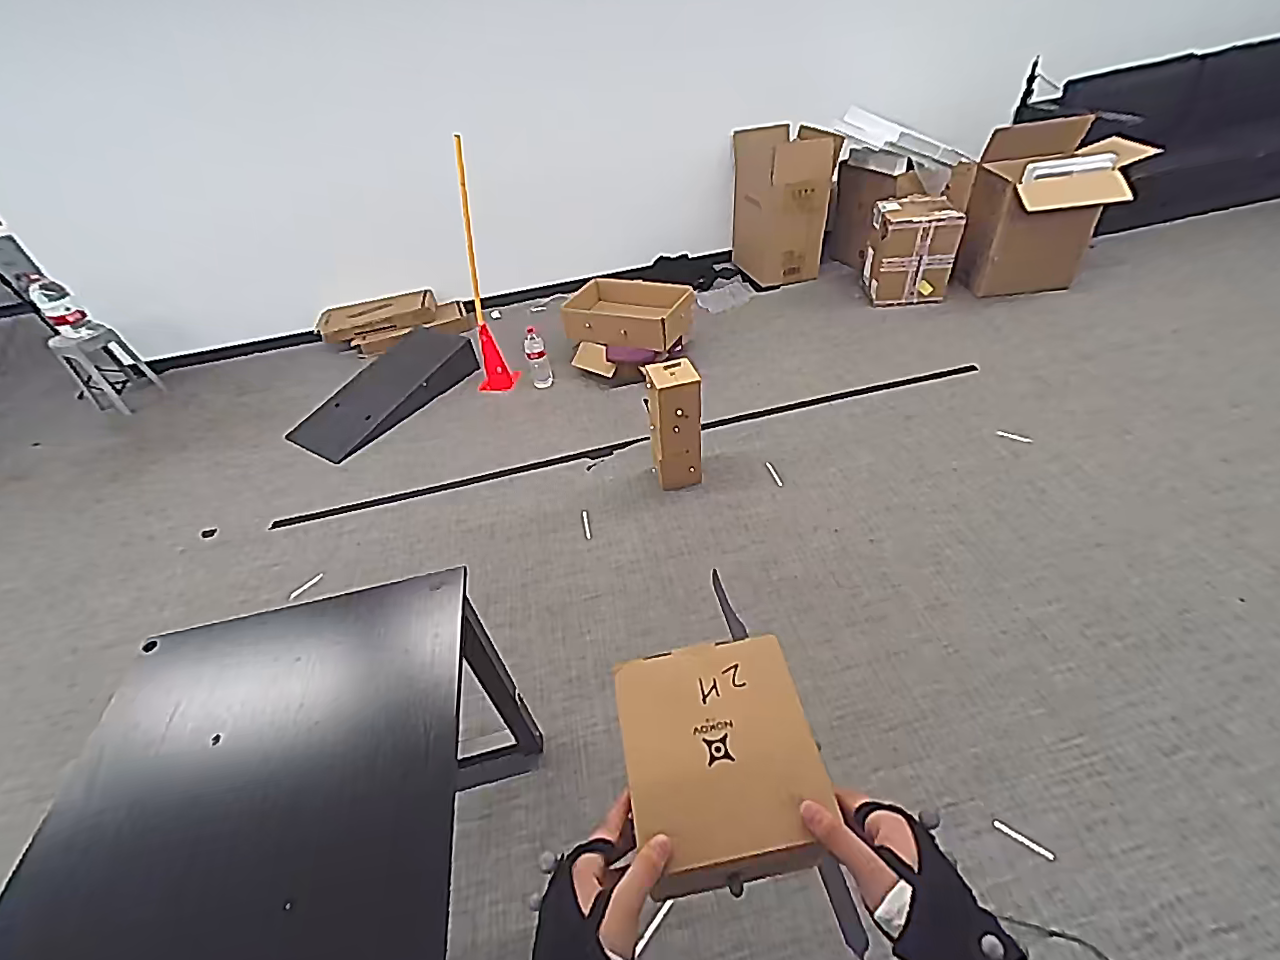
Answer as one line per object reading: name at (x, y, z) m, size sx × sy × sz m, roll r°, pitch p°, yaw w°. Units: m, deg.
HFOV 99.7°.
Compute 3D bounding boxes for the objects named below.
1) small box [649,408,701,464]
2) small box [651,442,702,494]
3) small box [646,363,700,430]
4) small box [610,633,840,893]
small box at (0.137, -0.190, 2.150) m, size 0.168 × 0.176 × 0.179 m, roll -14°, pitch 40°, yaw -6°
small box at (0.154, -0.067, 2.257) m, size 0.179 × 0.176 × 0.168 m, roll -14°, pitch 40°, yaw -4°
small box at (0.124, -0.315, 2.043) m, size 0.168 × 0.176 × 0.179 m, roll -14°, pitch 41°, yaw -6°
small box at (0.072, 0.282, 0.532) m, size 0.168 × 0.176 × 0.179 m, roll -11°, pitch 46°, yaw -4°
